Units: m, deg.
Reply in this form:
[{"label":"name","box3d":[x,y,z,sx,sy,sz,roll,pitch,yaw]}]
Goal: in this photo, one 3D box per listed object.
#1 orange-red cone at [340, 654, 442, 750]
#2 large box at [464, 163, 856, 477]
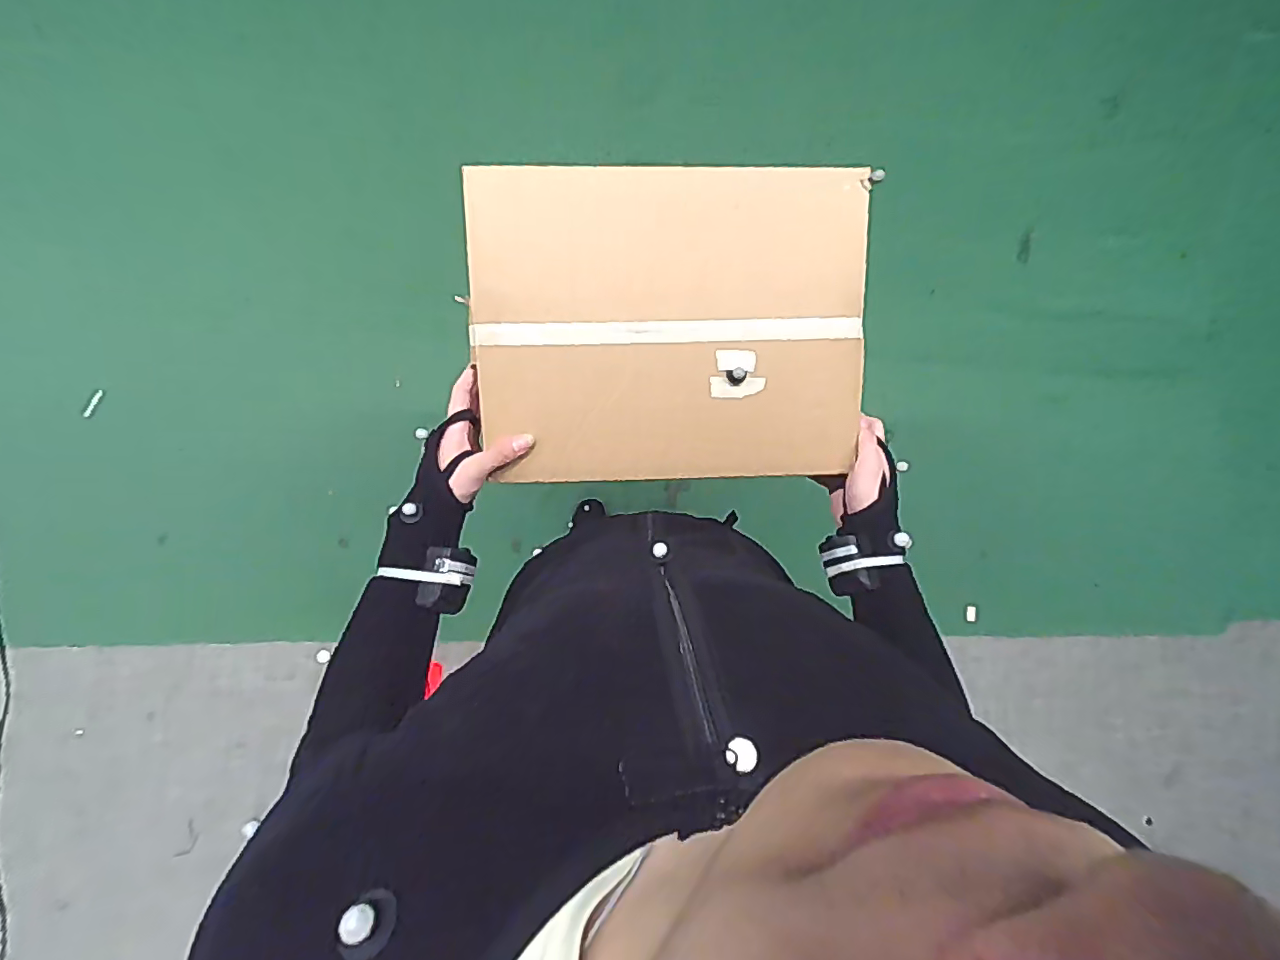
[{"label":"orange-red cone","box3d":[-0.673,0.601,1.392,0.199,0.360,0.198,8,86,-3]},{"label":"large box","box3d":[0.018,-0.189,0.713,0.408,0.320,0.320,-2,101,-4]}]
